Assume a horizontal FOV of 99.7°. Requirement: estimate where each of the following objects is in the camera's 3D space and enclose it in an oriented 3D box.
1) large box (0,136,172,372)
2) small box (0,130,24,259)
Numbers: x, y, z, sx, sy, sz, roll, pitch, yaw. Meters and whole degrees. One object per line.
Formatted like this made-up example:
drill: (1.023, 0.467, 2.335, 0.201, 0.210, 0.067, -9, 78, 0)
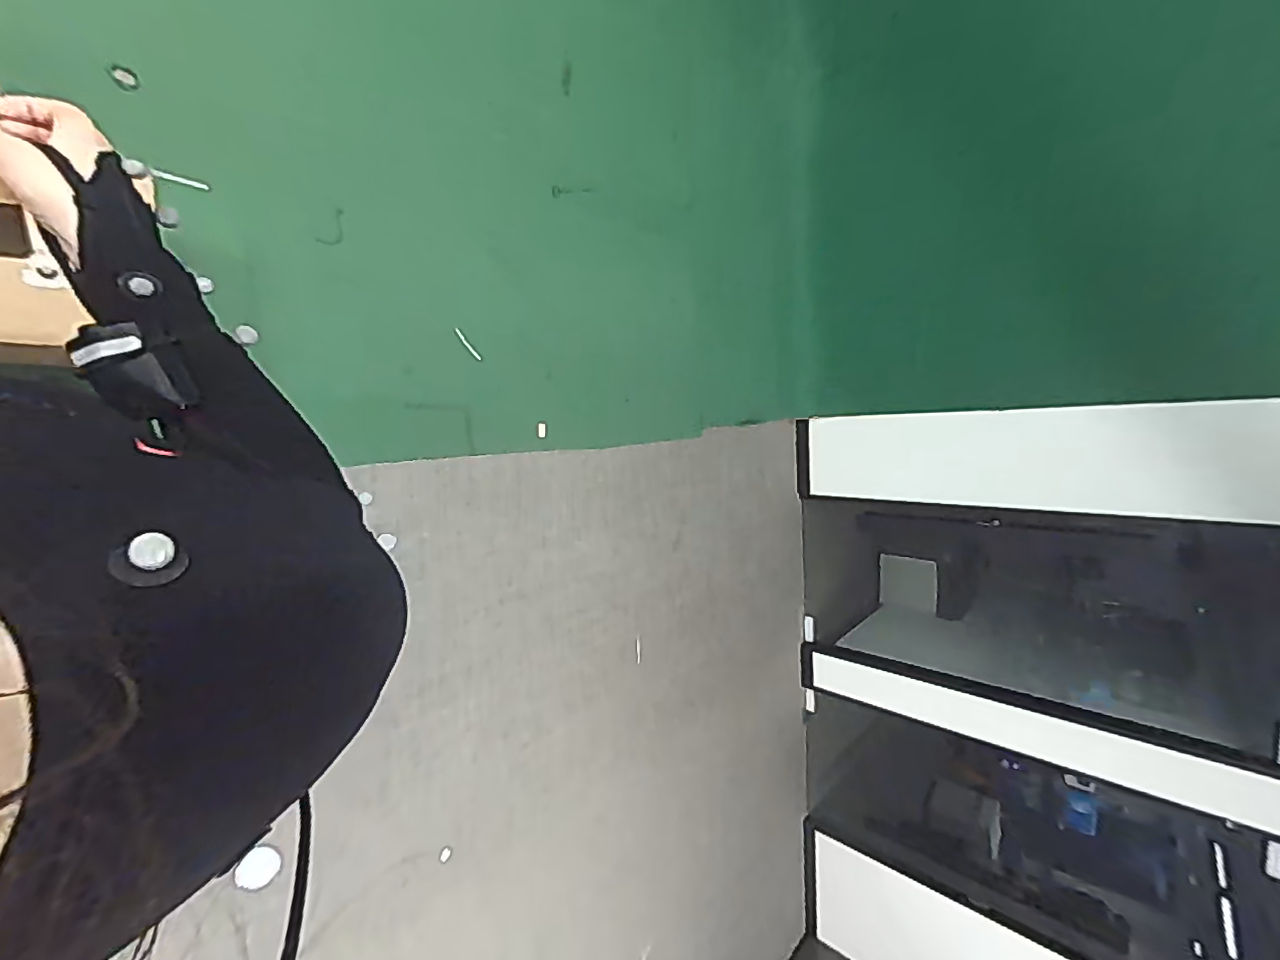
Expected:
large box: (-1.060, -0.354, 0.879, 0.408, 0.320, 0.320, -7, 98, -47)
small box: (-0.535, -0.254, 0.342, 0.168, 0.176, 0.179, -16, 107, -45)
